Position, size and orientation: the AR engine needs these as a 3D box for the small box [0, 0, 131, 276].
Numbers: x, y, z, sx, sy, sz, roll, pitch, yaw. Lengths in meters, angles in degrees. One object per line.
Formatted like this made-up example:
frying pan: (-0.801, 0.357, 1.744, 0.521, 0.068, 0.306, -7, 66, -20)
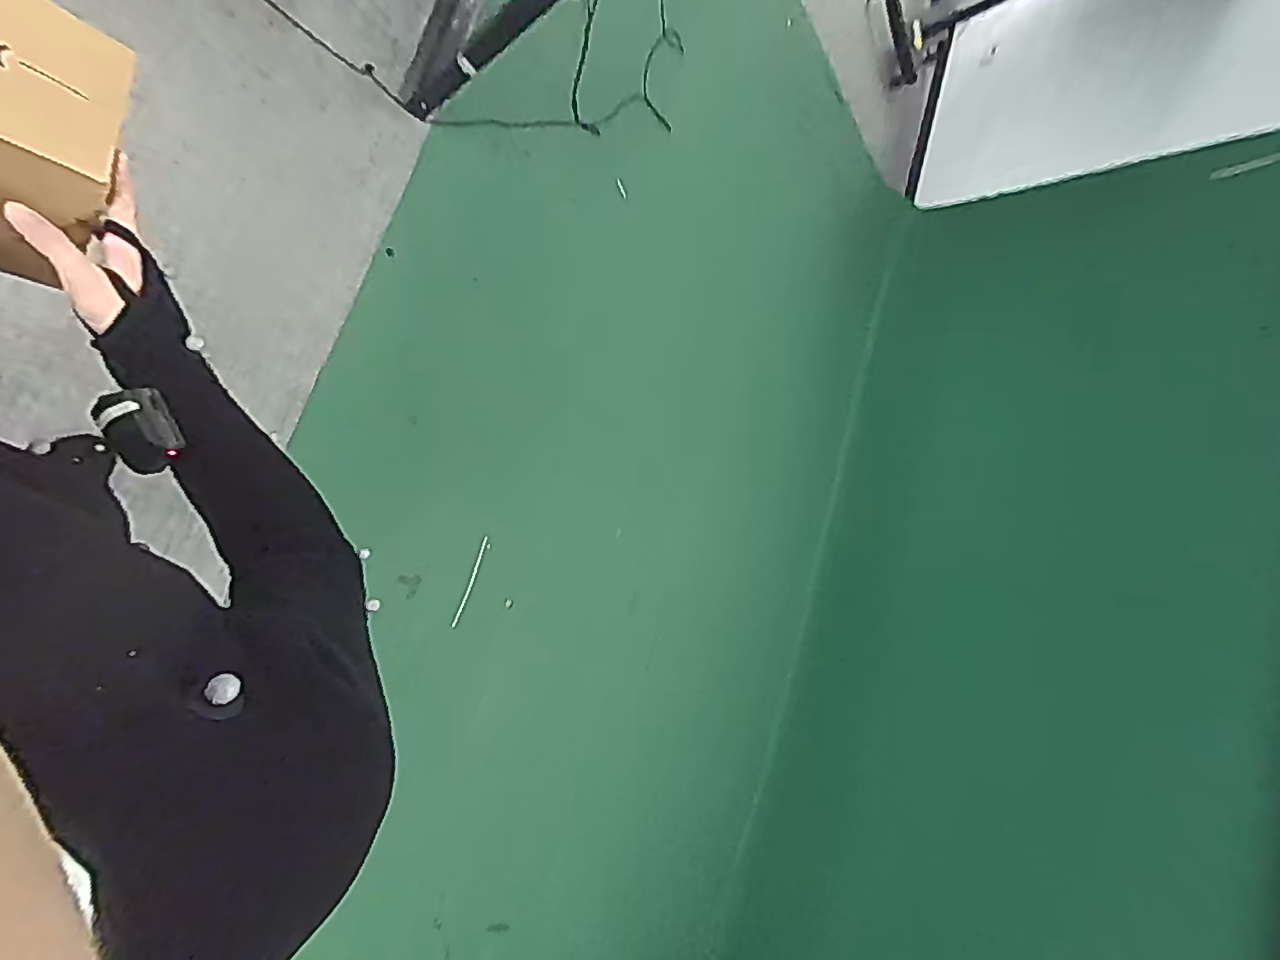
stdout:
small box: (-0.564, -0.303, 0.443, 0.179, 0.176, 0.168, 14, 59, -50)
